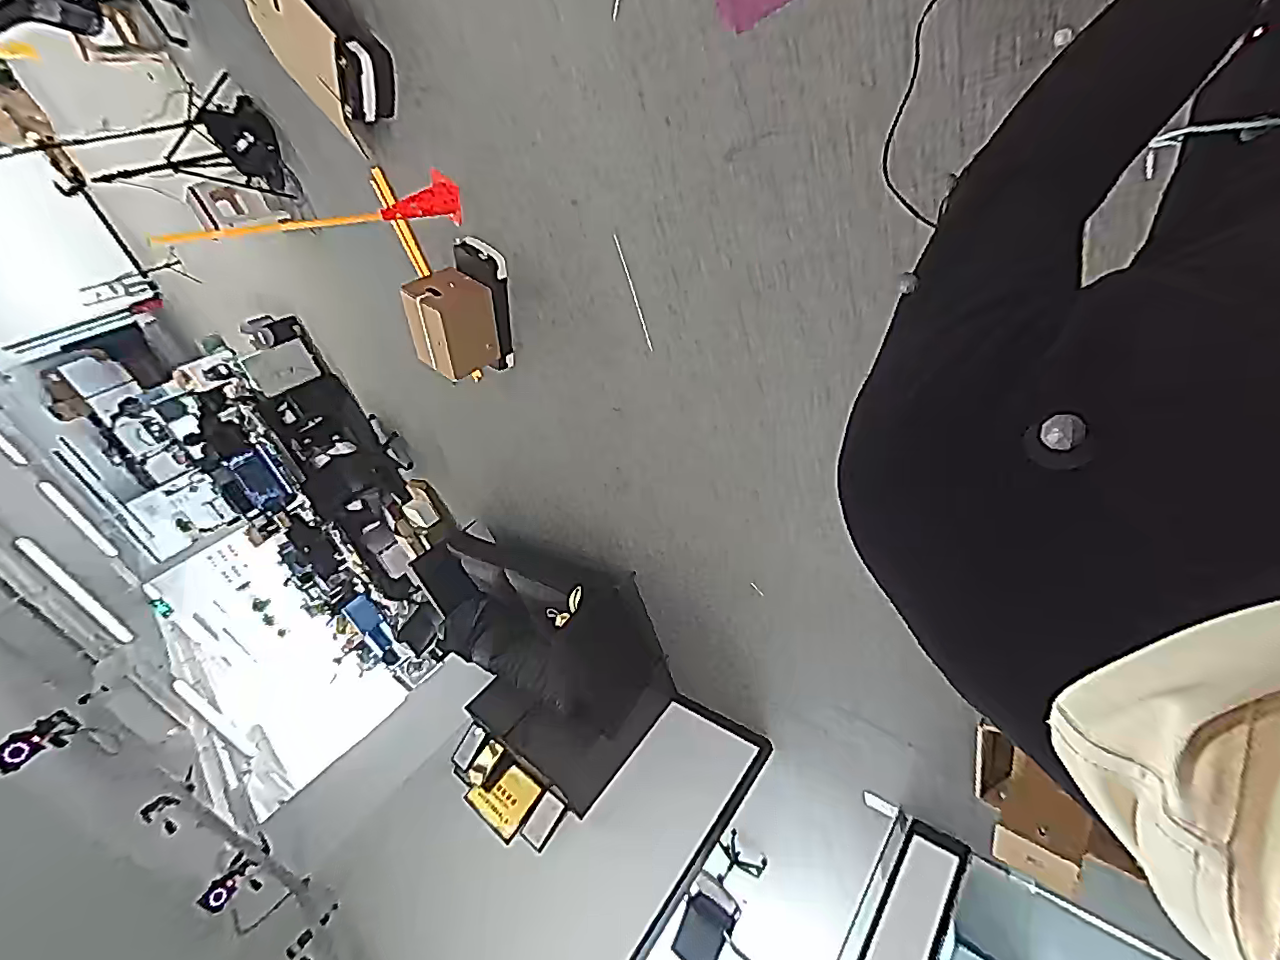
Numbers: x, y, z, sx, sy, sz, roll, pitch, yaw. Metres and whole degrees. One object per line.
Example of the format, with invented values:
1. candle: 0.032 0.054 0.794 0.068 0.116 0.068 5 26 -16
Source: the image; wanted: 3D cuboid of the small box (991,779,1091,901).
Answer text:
1. small box: 1.041 0.923 1.403 0.179 0.176 0.168 14 132 42
